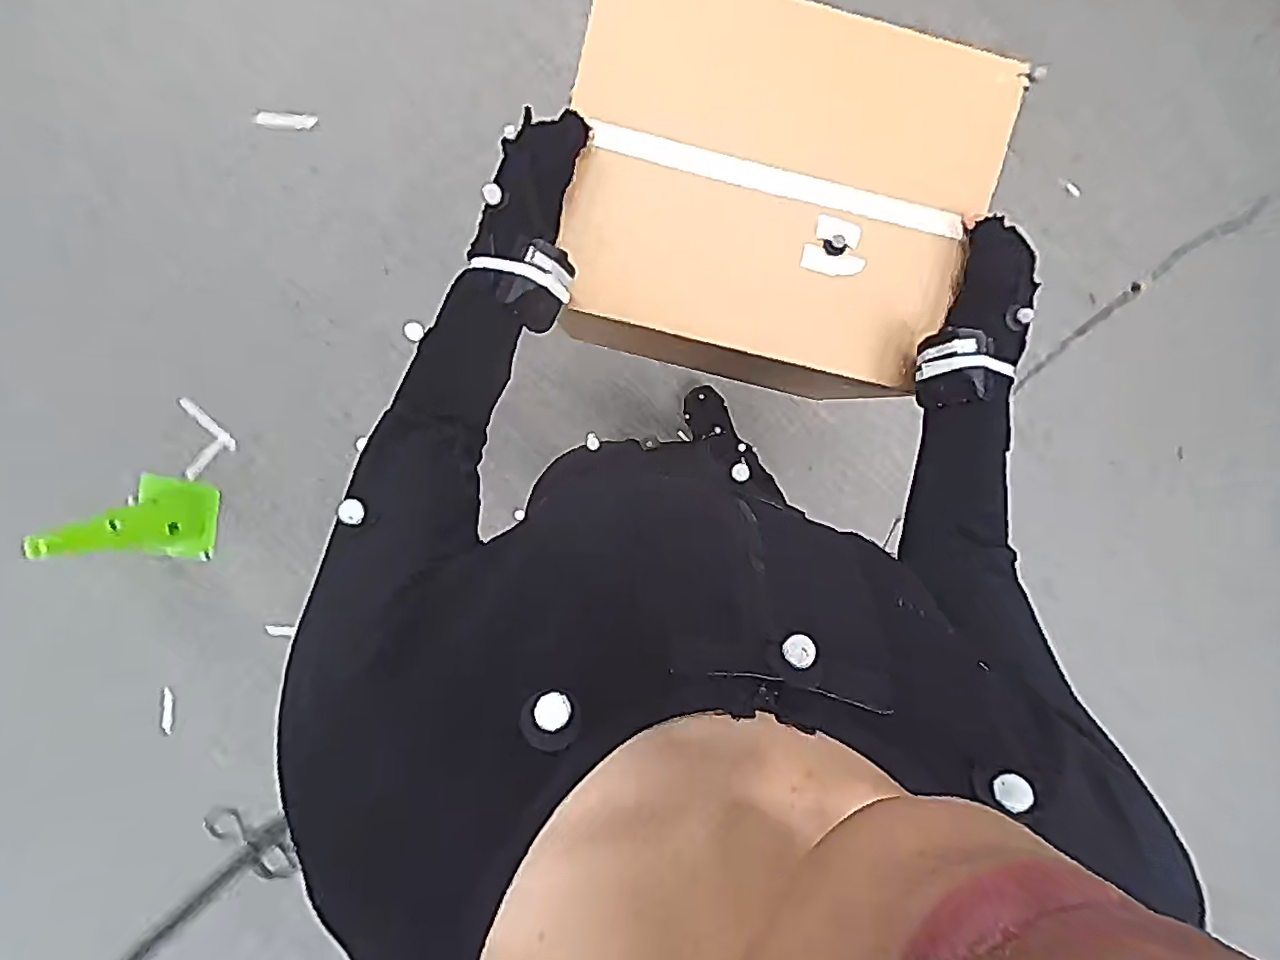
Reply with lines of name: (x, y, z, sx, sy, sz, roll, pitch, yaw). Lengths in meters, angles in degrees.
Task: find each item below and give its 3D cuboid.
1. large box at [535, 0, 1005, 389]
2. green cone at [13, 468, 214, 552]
large box: (0.114, -0.307, 0.660, 0.408, 0.320, 0.320, 12, 98, -4)
green cone: (-1.216, 0.094, 1.244, 0.202, 0.368, 0.200, 10, 95, -2)
